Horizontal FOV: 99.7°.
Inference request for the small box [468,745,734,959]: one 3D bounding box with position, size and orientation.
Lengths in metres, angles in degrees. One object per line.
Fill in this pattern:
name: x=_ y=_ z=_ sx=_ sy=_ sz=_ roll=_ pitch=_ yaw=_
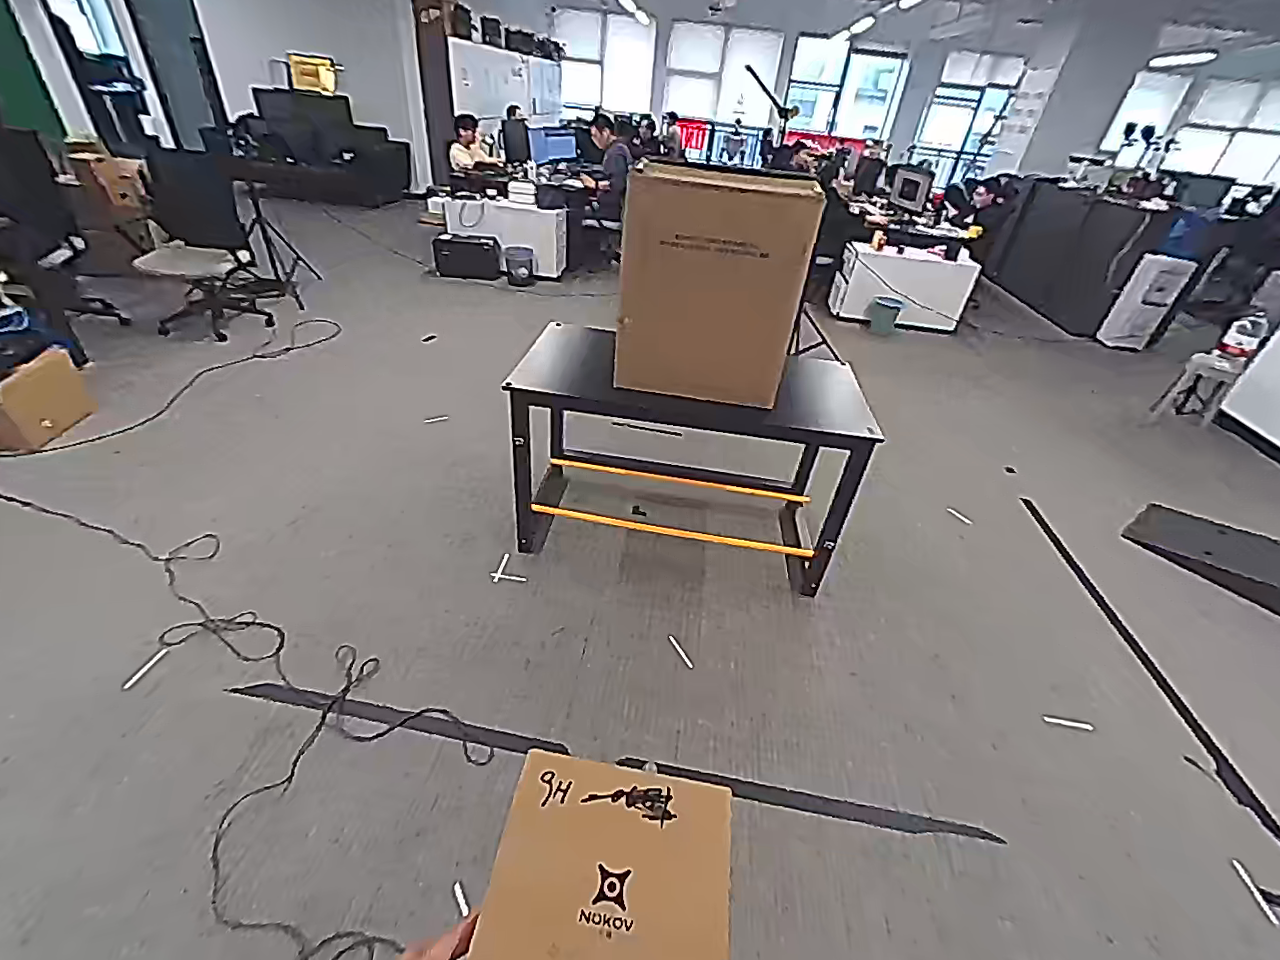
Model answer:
small box: x=-0.026 y=0.341 z=0.421 sx=0.168 sy=0.176 sz=0.179 roll=10 pitch=43 yaw=3
